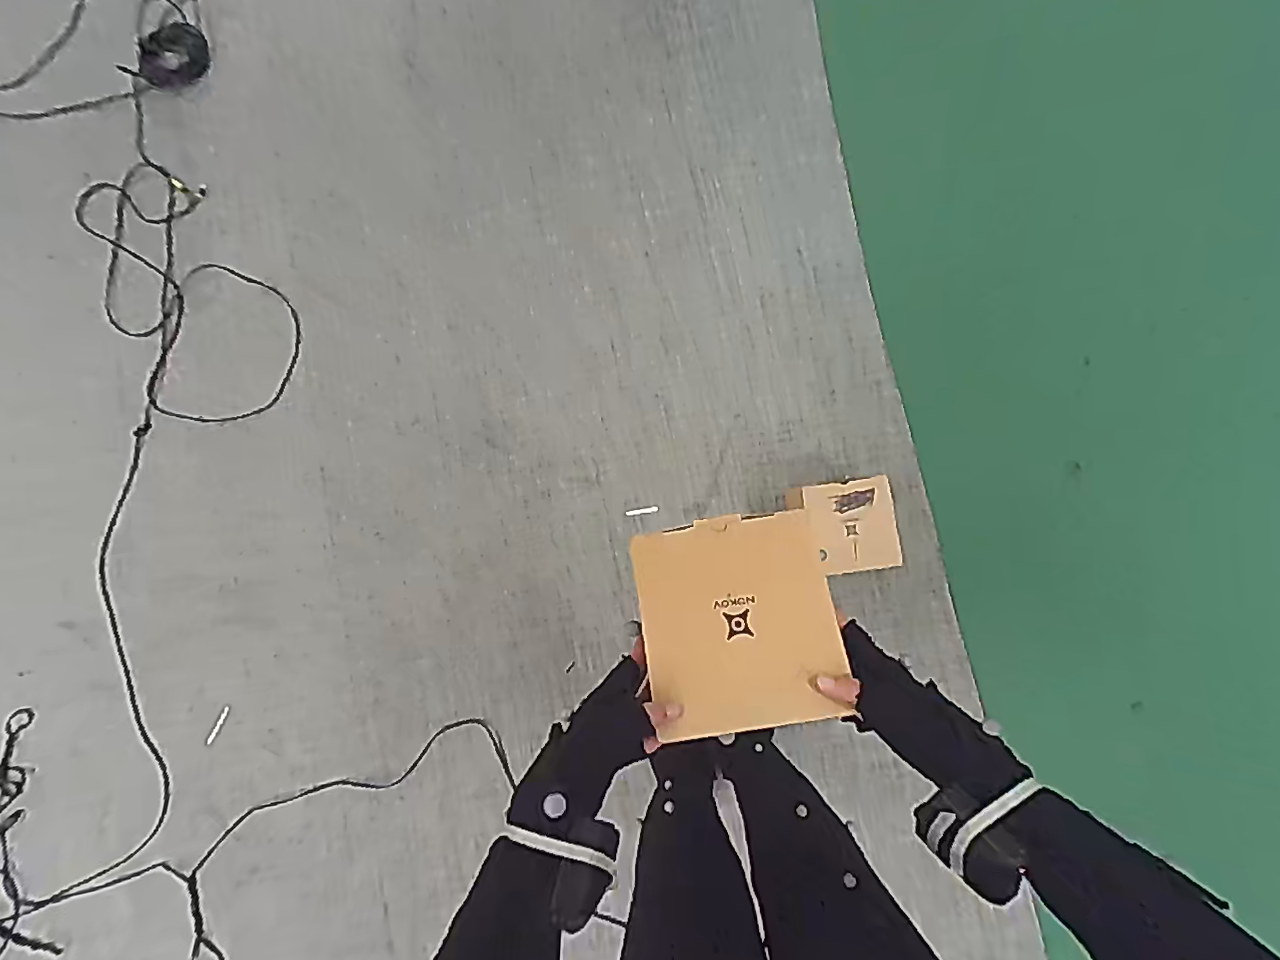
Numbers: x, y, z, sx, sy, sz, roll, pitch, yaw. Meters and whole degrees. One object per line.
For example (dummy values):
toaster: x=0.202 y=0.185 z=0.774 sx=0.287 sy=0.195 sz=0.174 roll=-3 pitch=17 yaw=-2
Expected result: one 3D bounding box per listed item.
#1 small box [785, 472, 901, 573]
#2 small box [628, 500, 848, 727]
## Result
small box: x=0.402 y=0.088 z=1.102 sx=0.168 sy=0.176 sz=0.179 roll=-8 pitch=85 yaw=4
small box: x=0.086 y=0.137 z=0.542 sx=0.168 sy=0.176 sz=0.179 roll=-9 pitch=68 yaw=1
